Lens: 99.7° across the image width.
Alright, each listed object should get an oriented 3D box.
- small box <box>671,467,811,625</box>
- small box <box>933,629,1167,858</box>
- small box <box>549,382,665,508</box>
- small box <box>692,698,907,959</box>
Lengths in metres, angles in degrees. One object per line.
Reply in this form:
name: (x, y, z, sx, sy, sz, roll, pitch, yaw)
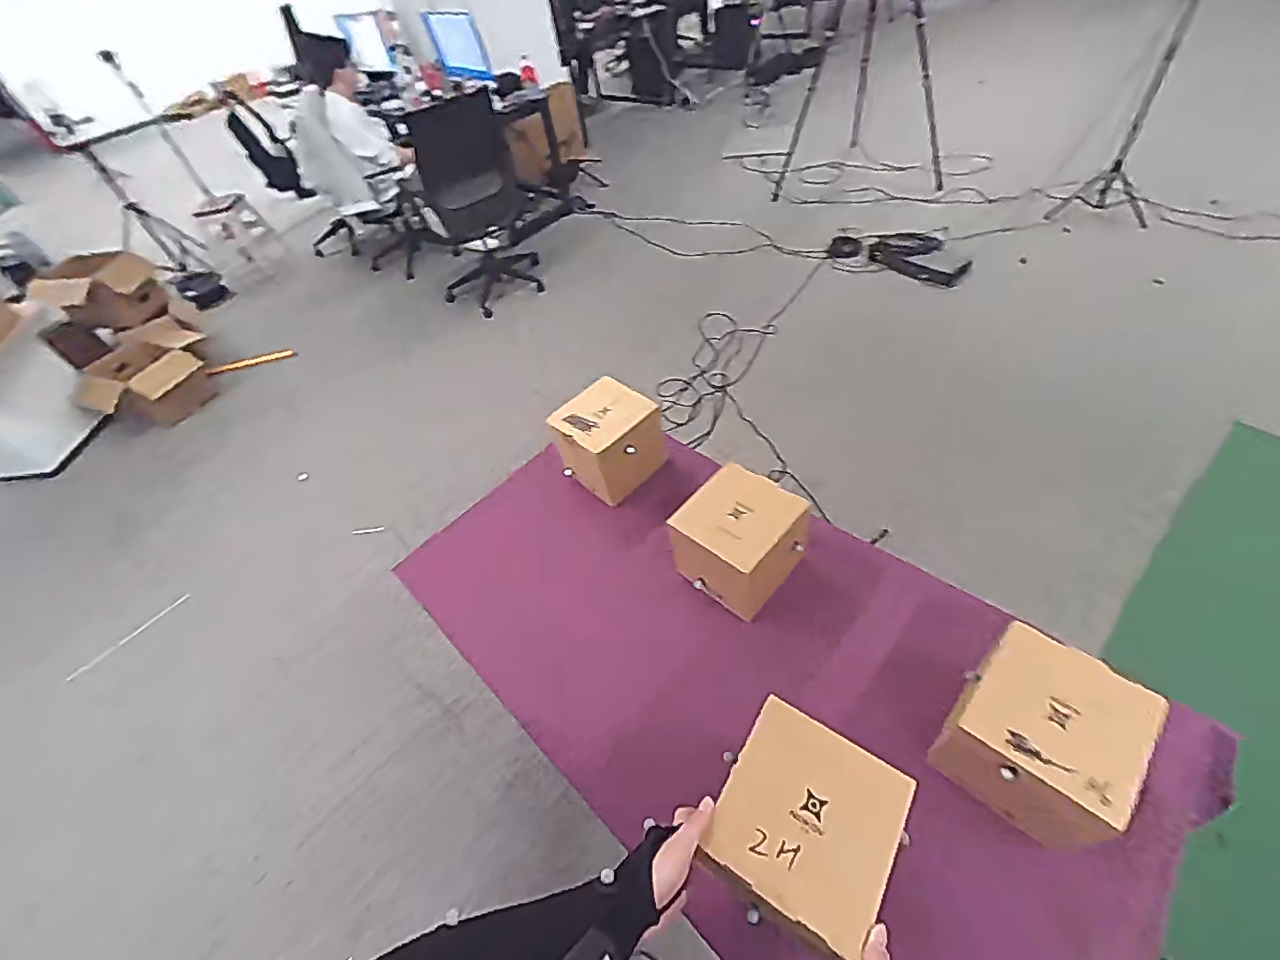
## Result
small box: (0.175, 0.116, 0.949, 0.168, 0.176, 0.179, 32, 62, 34)
small box: (0.503, 0.333, 0.686, 0.168, 0.176, 0.179, 31, 60, 33)
small box: (-0.062, -0.073, 1.159, 0.179, 0.176, 0.168, -40, 54, -22)
small box: (0.165, 0.387, 0.605, 0.168, 0.176, 0.179, 25, 57, 22)
